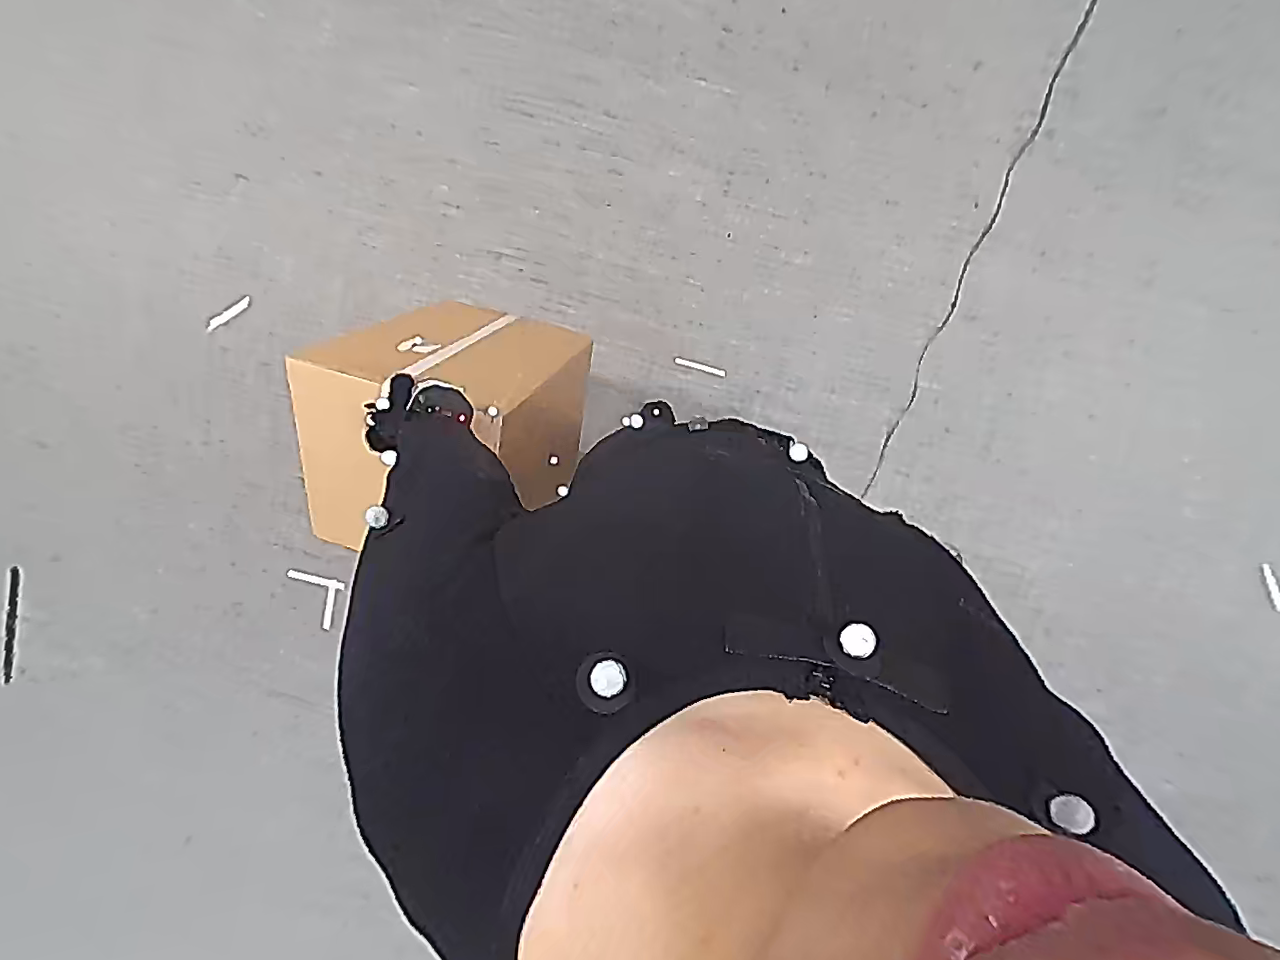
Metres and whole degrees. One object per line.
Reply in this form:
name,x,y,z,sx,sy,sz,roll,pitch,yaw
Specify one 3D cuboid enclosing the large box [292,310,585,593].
large box,-0.315,-0.074,0.963,0.320,0.408,0.320,14,122,6
